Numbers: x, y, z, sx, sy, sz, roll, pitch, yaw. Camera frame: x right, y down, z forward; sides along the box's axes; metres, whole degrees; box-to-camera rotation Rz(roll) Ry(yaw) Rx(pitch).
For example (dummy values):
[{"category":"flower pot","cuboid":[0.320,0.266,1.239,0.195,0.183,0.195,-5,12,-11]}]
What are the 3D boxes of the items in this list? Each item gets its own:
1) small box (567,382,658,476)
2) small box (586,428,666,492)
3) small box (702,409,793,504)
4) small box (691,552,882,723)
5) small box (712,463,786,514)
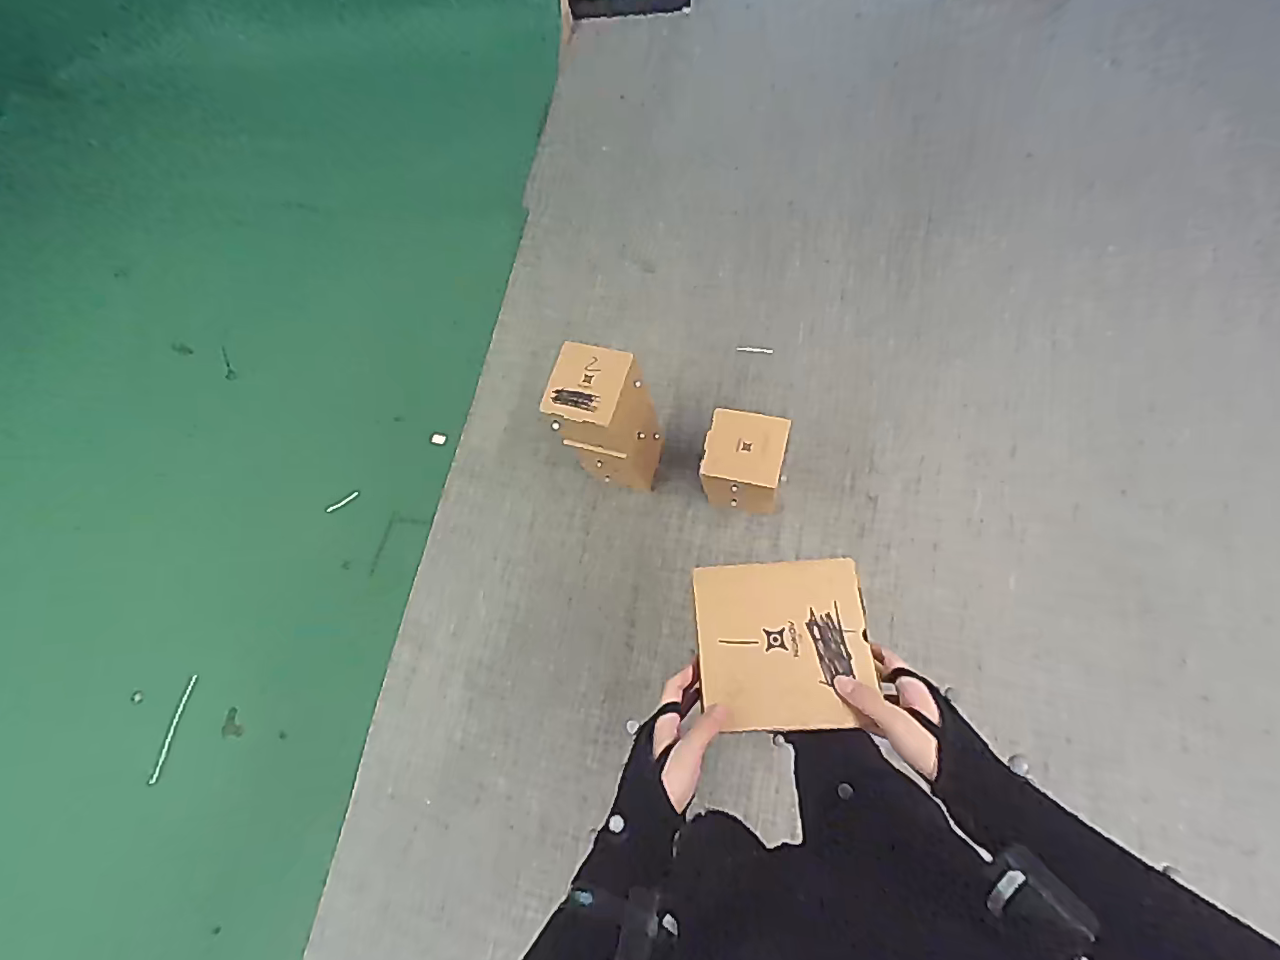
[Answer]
[{"category":"small box","cuboid":[-0.062,-0.124,1.384,0.168,0.176,0.179,14,76,15]},{"category":"small box","cuboid":[-0.033,-0.079,1.540,0.168,0.176,0.179,13,76,16]},{"category":"small box","cuboid":[0.257,-0.052,1.294,0.179,0.176,0.168,12,77,15]},{"category":"small box","cuboid":[0.152,0.190,0.629,0.179,0.176,0.168,-4,64,4]},{"category":"small box","cuboid":[0.292,-0.016,1.450,0.179,0.176,0.168,10,76,15]}]
